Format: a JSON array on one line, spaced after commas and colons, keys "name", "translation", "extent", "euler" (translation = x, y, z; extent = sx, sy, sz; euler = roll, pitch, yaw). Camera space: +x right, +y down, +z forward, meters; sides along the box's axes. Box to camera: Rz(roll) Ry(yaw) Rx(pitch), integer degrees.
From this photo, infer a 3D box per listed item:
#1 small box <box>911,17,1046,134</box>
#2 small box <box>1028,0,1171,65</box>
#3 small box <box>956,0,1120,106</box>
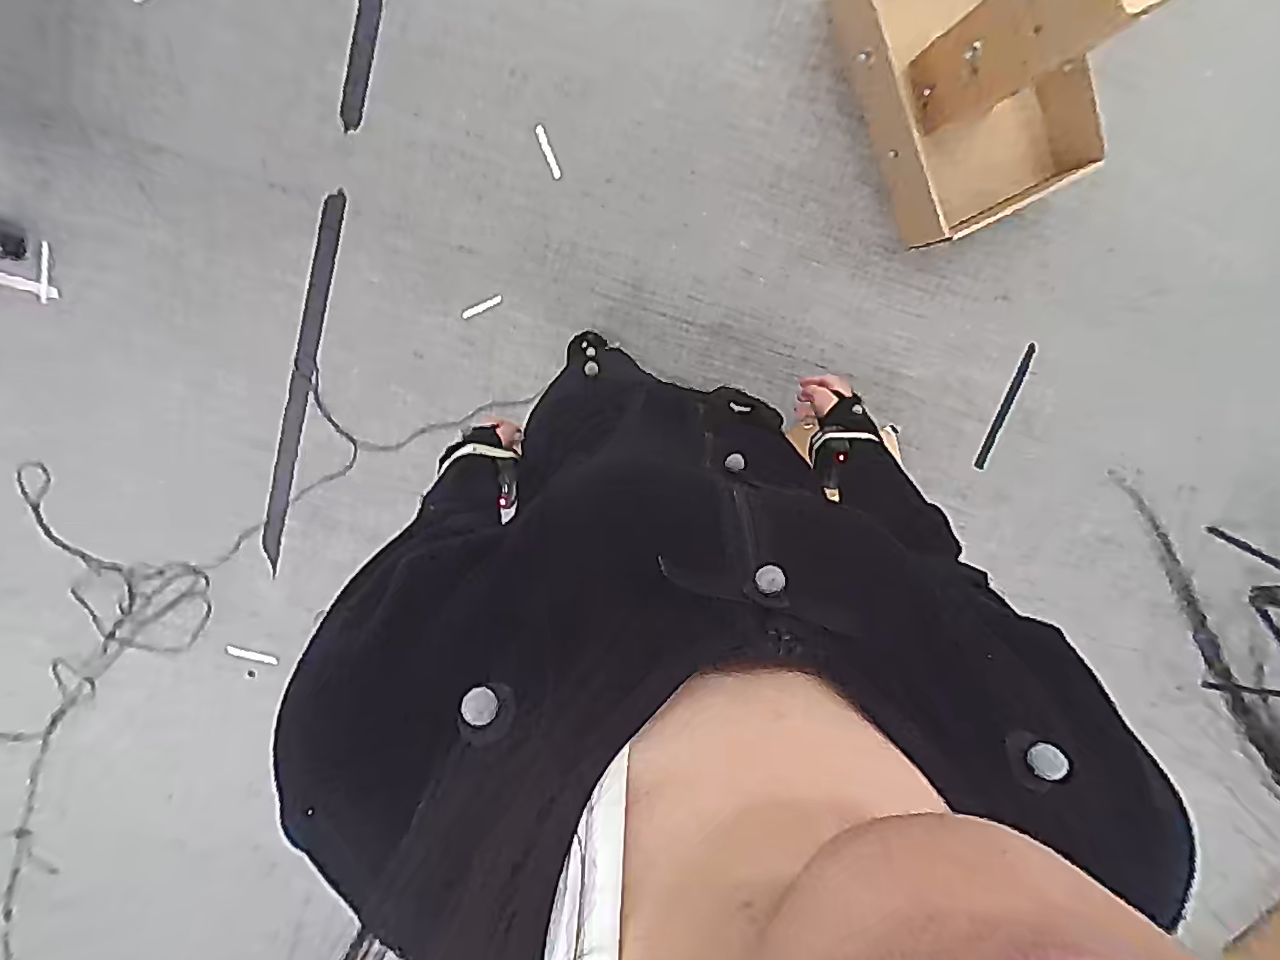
[{"name": "small box", "translation": [0.739, -0.907, 1.191], "extent": [0.179, 0.176, 0.168], "euler": [-23, 105, 2]}, {"name": "small box", "translation": [0.769, -0.826, 0.876], "extent": [0.179, 0.176, 0.168], "euler": [-26, 105, 1]}, {"name": "small box", "translation": [0.753, -0.865, 1.035], "extent": [0.179, 0.176, 0.168], "euler": [-24, 105, 3]}]
